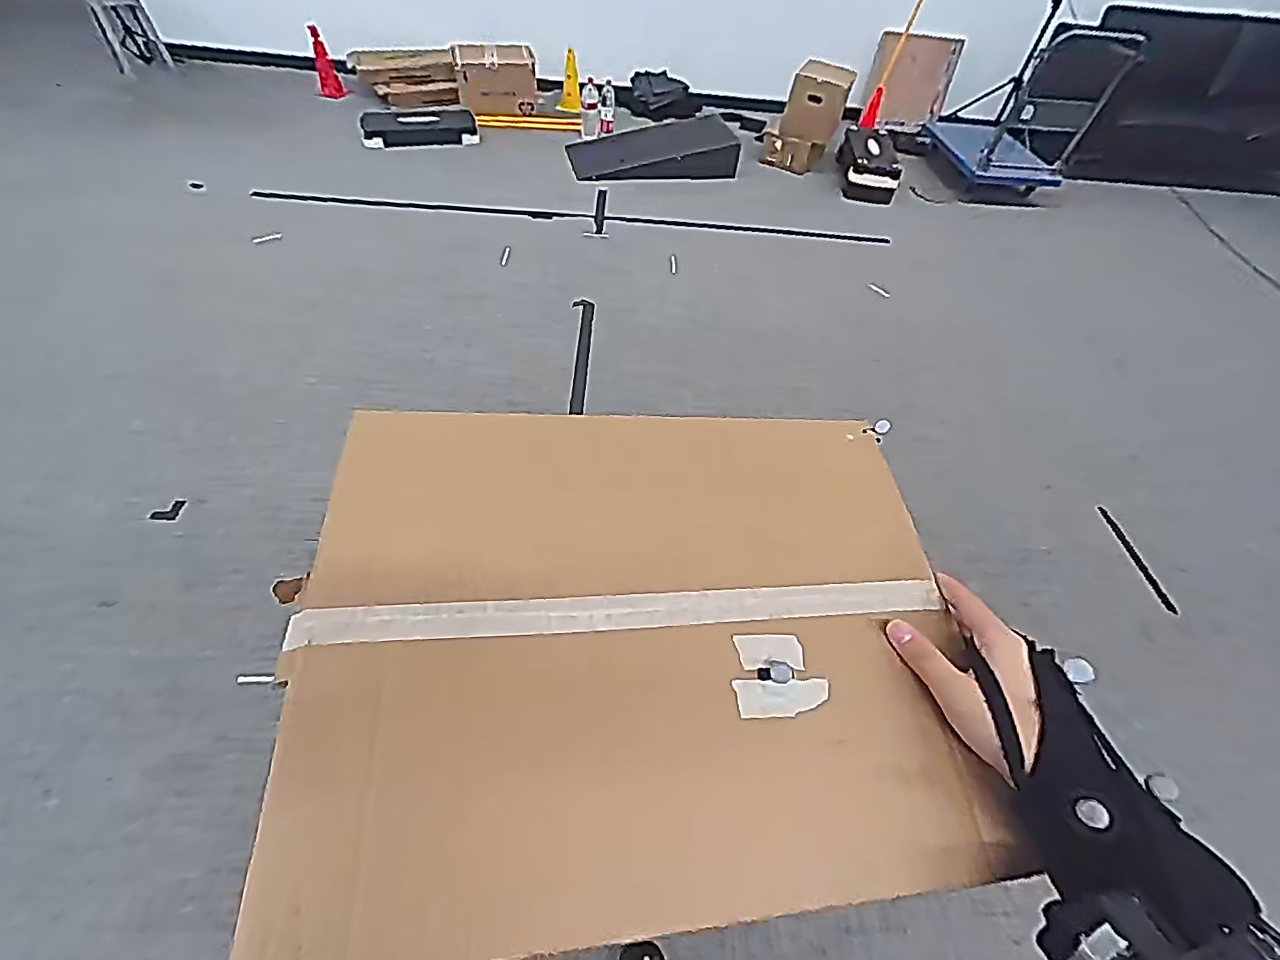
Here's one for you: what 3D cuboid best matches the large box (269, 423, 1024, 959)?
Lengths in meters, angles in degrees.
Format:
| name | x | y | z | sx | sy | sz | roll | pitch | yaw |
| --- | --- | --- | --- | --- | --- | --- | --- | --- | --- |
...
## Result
| name | x | y | z | sx | sy | sz | roll | pitch | yaw |
| --- | --- | --- | --- | --- | --- | --- | --- | --- | --- |
| large box | -0.012 | 0.167 | 0.472 | 0.408 | 0.320 | 0.320 | 1 | 58 | -12 |
